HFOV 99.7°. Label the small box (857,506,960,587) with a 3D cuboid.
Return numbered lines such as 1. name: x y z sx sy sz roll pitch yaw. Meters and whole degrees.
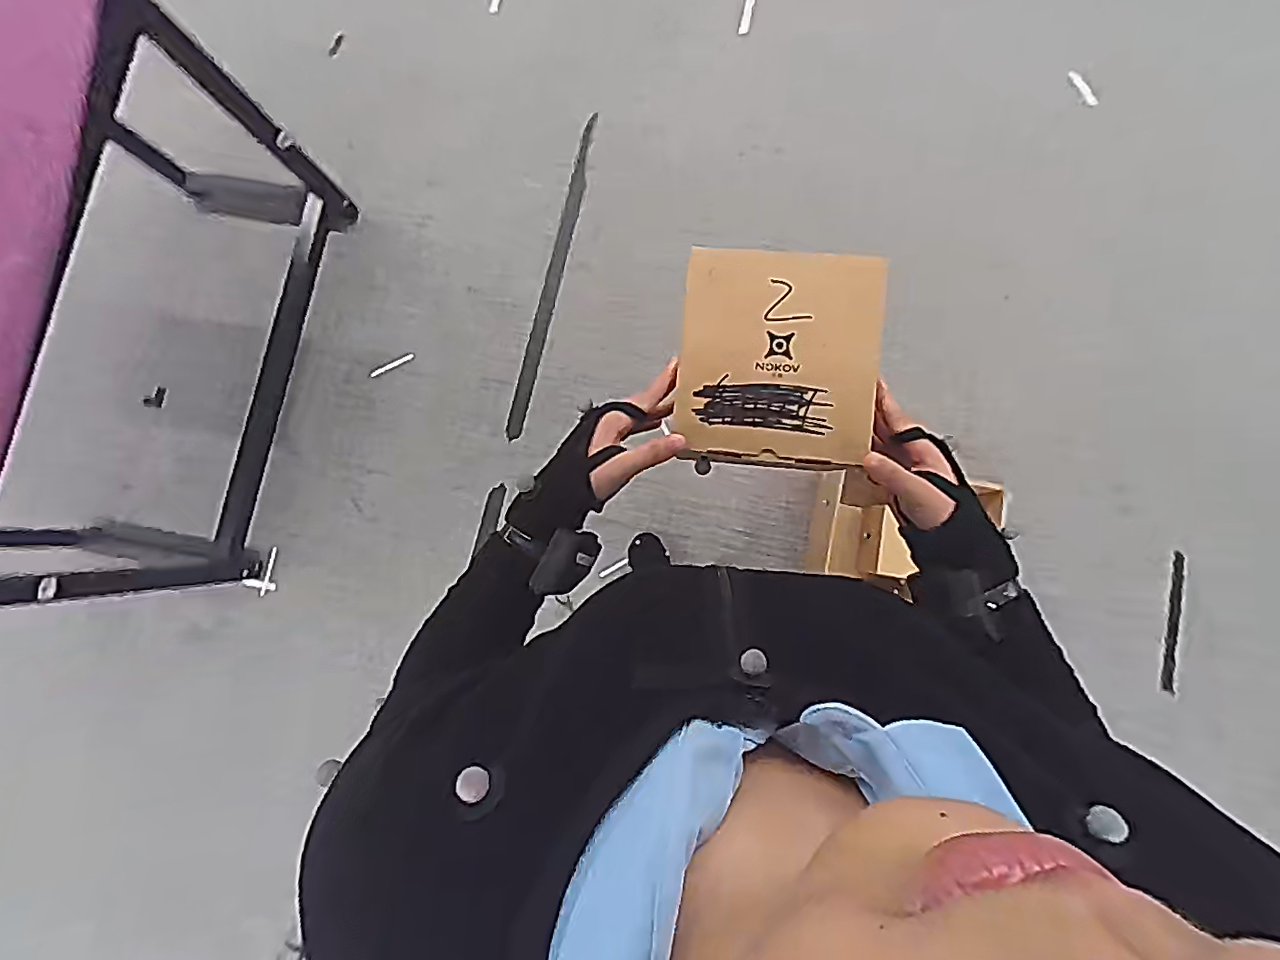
1. small box: 0.659 0.163 1.347 0.179 0.176 0.168 9 86 5
